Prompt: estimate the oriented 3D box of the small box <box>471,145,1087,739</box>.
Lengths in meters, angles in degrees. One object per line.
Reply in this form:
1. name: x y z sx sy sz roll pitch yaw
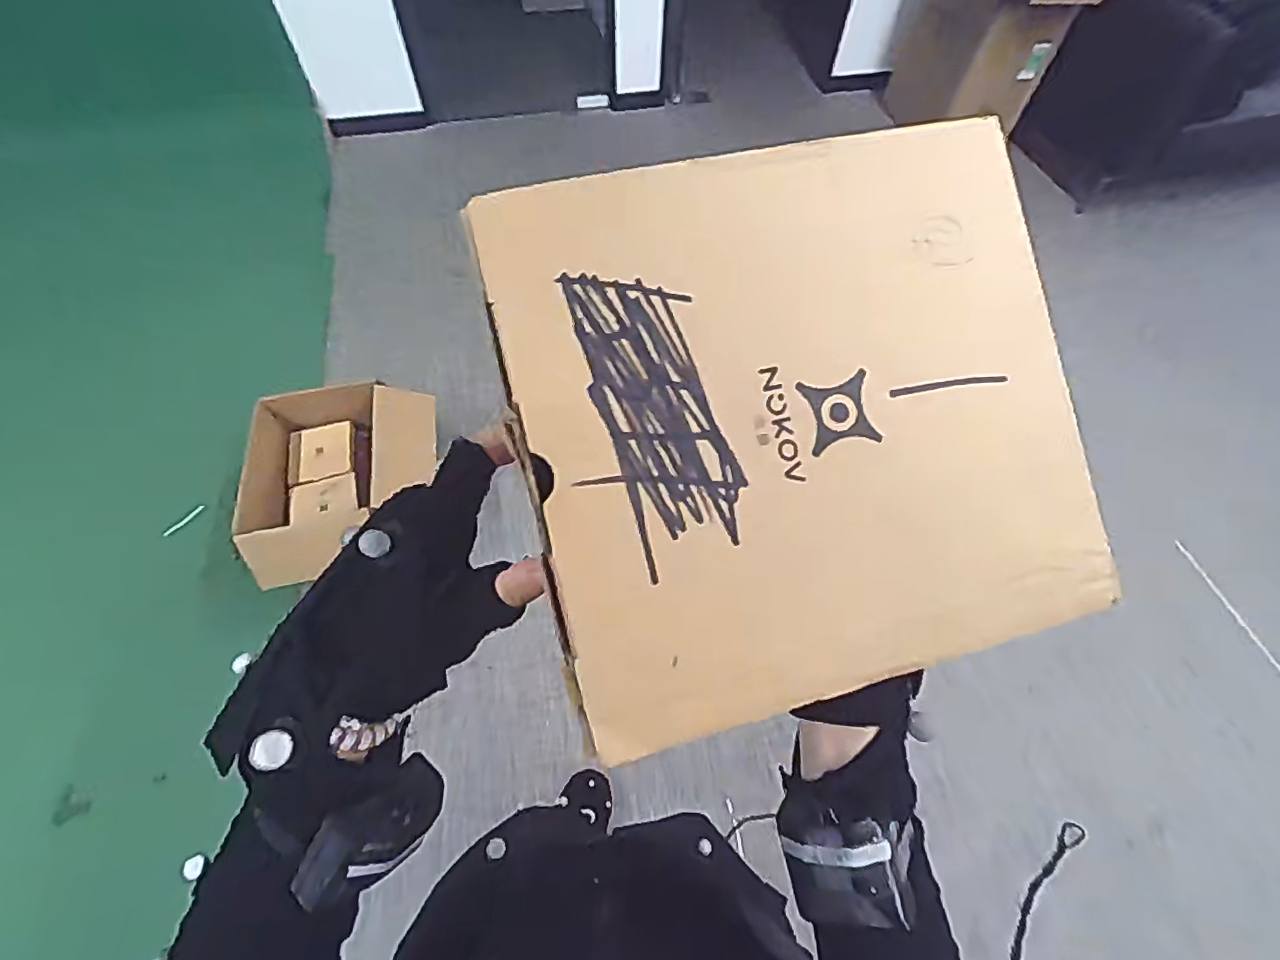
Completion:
1. small box: 0.039 -0.013 0.252 0.179 0.176 0.168 -13 89 -7
